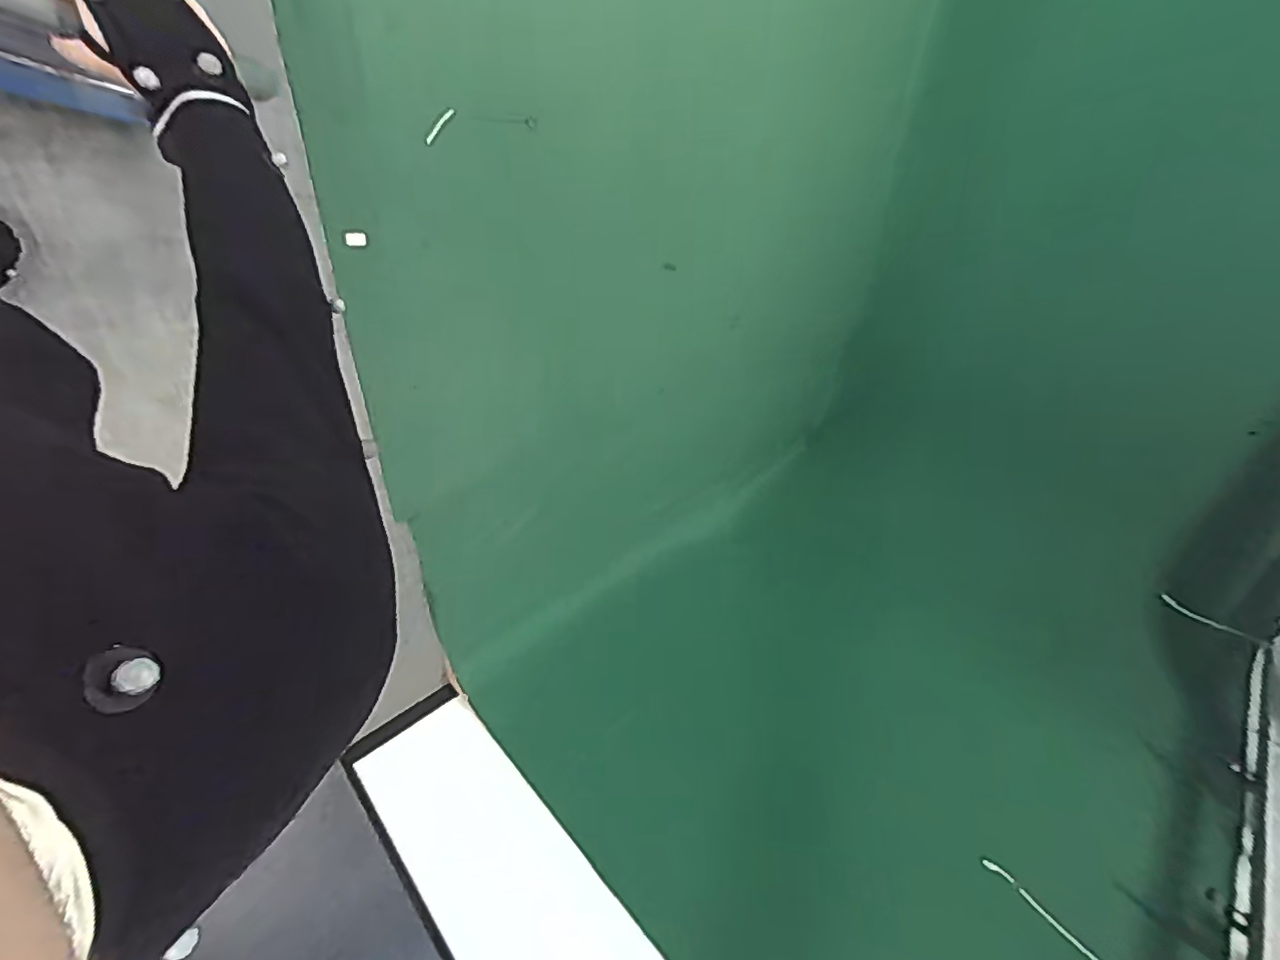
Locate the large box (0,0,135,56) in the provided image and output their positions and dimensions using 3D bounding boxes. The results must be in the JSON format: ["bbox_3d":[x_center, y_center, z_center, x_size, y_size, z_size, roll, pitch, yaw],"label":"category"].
[{"bbox_3d":[-0.834,-0.794,0.623,0.320,0.320,0.408,-10,121,-47],"label":"large box"}]
